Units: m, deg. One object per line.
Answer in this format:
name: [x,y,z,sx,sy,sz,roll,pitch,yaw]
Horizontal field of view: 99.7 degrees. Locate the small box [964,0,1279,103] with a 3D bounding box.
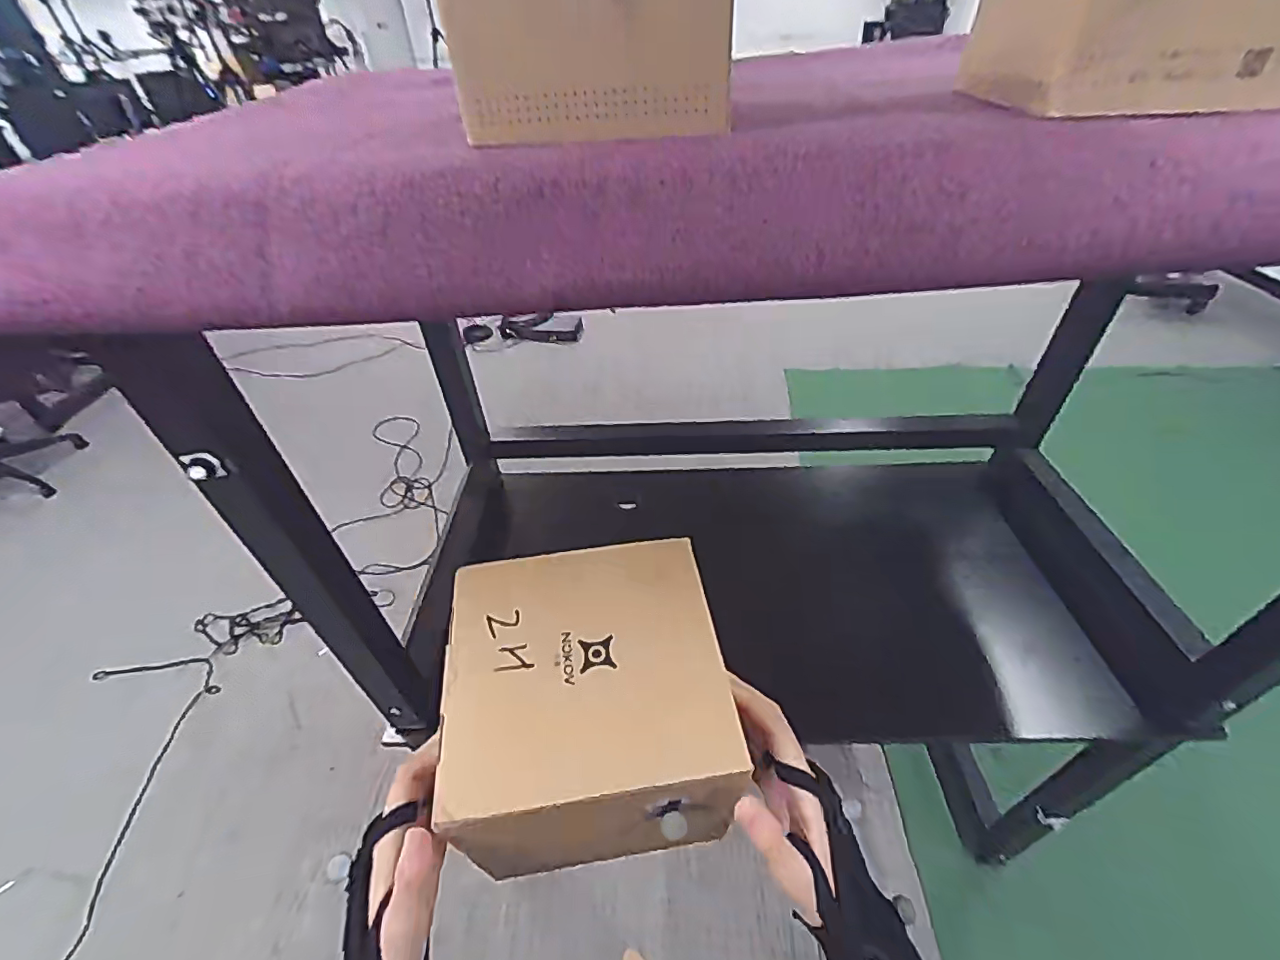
small box: [0.336,-0.340,0.332,0.168,0.176,0.179,2,41,7]
